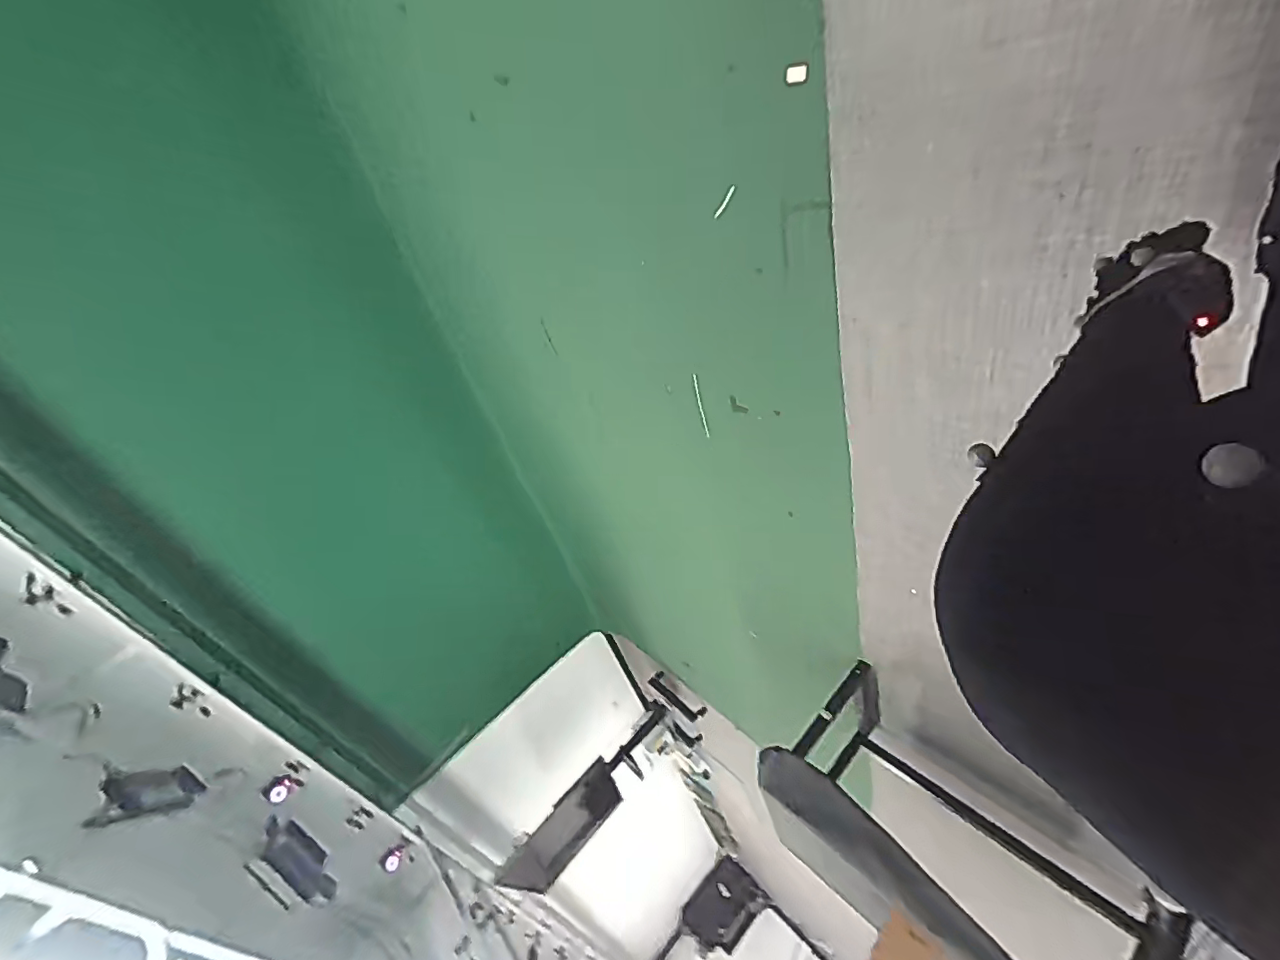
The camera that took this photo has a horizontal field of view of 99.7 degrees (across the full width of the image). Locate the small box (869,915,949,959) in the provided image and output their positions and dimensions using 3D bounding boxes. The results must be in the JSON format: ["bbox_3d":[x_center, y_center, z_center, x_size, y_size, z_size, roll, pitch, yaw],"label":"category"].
[{"bbox_3d":[0.877,1.574,1.770,0.179,0.176,0.168,27,147,43],"label":"small box"}]
